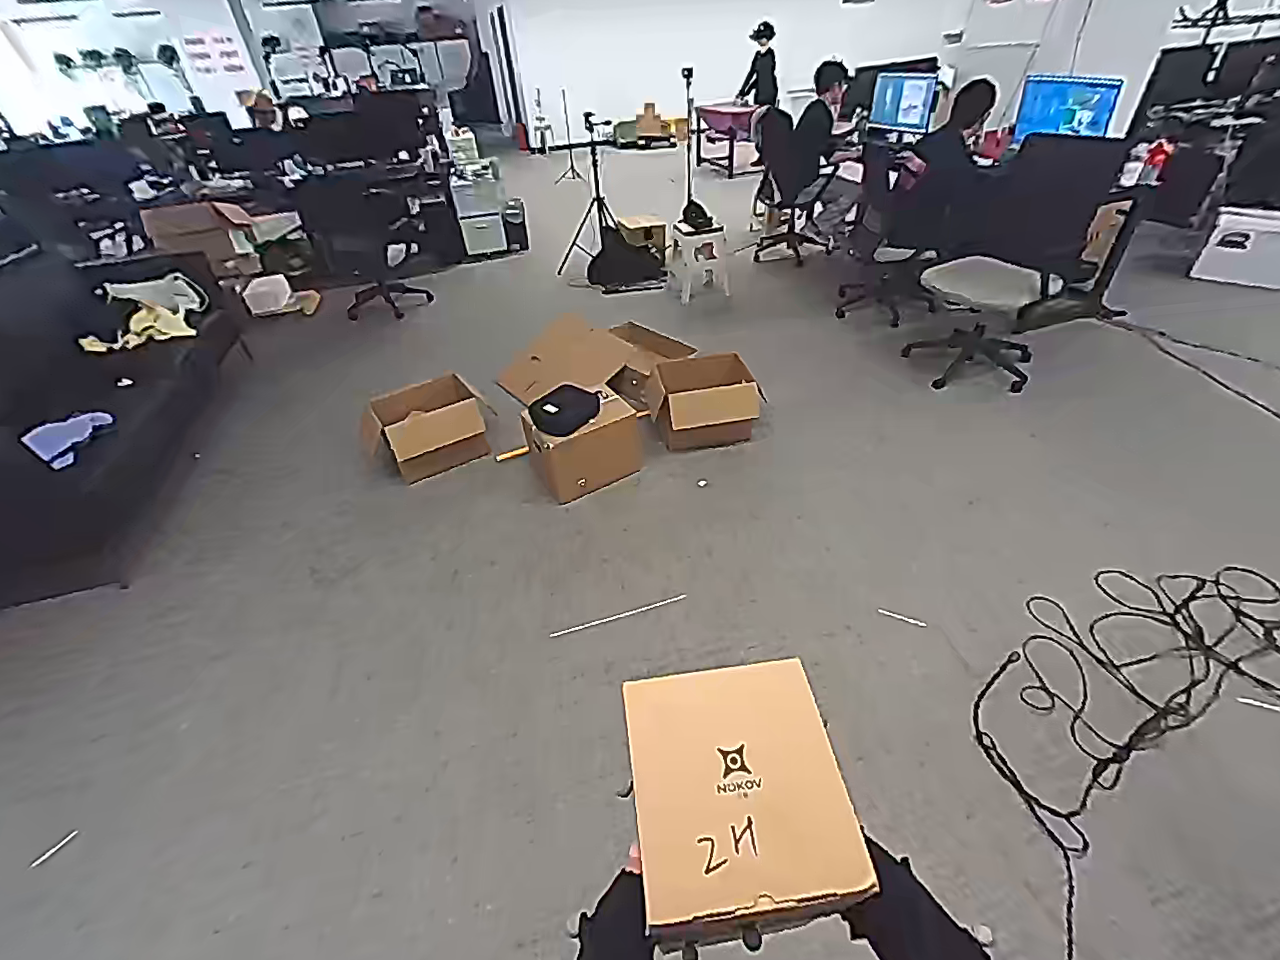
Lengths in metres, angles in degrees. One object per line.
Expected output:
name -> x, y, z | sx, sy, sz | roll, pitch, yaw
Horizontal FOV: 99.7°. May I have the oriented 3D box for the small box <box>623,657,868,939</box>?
small box -> 0.075, 0.288, 0.493 | 0.168, 0.176, 0.179 | -6, 46, -3
